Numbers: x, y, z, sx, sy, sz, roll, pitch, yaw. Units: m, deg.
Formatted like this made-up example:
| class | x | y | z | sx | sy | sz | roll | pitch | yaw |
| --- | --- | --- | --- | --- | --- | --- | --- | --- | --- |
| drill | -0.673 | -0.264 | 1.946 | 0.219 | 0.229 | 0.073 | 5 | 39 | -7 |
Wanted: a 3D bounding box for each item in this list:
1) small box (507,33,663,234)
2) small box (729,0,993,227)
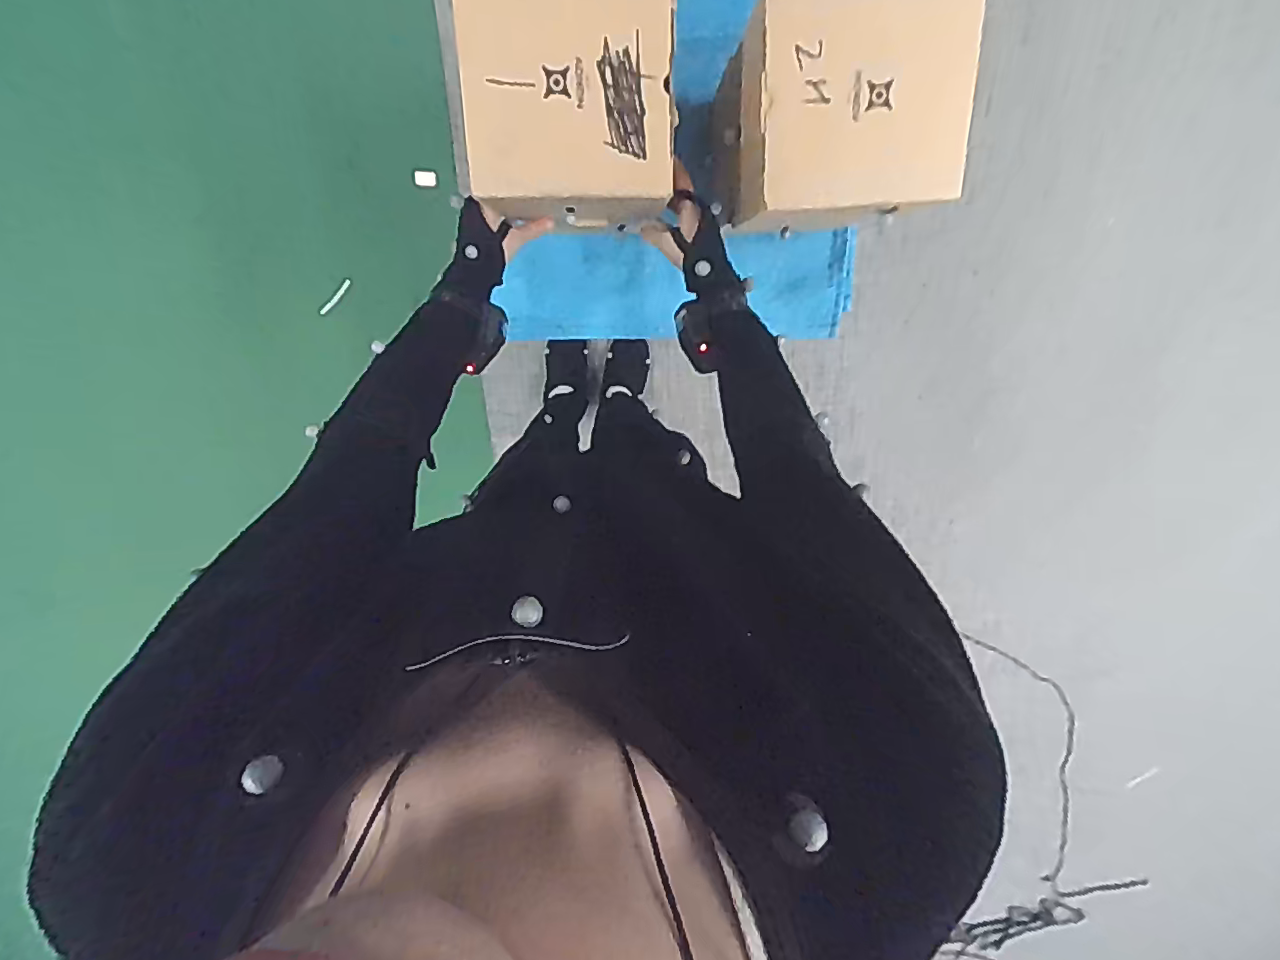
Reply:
| class | x | y | z | sx | sy | sz | roll | pitch | yaw |
| --- | --- | --- | --- | --- | --- | --- | --- | --- | --- |
| small box | -0.061 | -0.404 | 0.662 | 0.168 | 0.176 | 0.179 | 0 | 109 | -3 |
| small box | 0.187 | -0.339 | 0.512 | 0.179 | 0.176 | 0.168 | -2 | 109 | 1 |
